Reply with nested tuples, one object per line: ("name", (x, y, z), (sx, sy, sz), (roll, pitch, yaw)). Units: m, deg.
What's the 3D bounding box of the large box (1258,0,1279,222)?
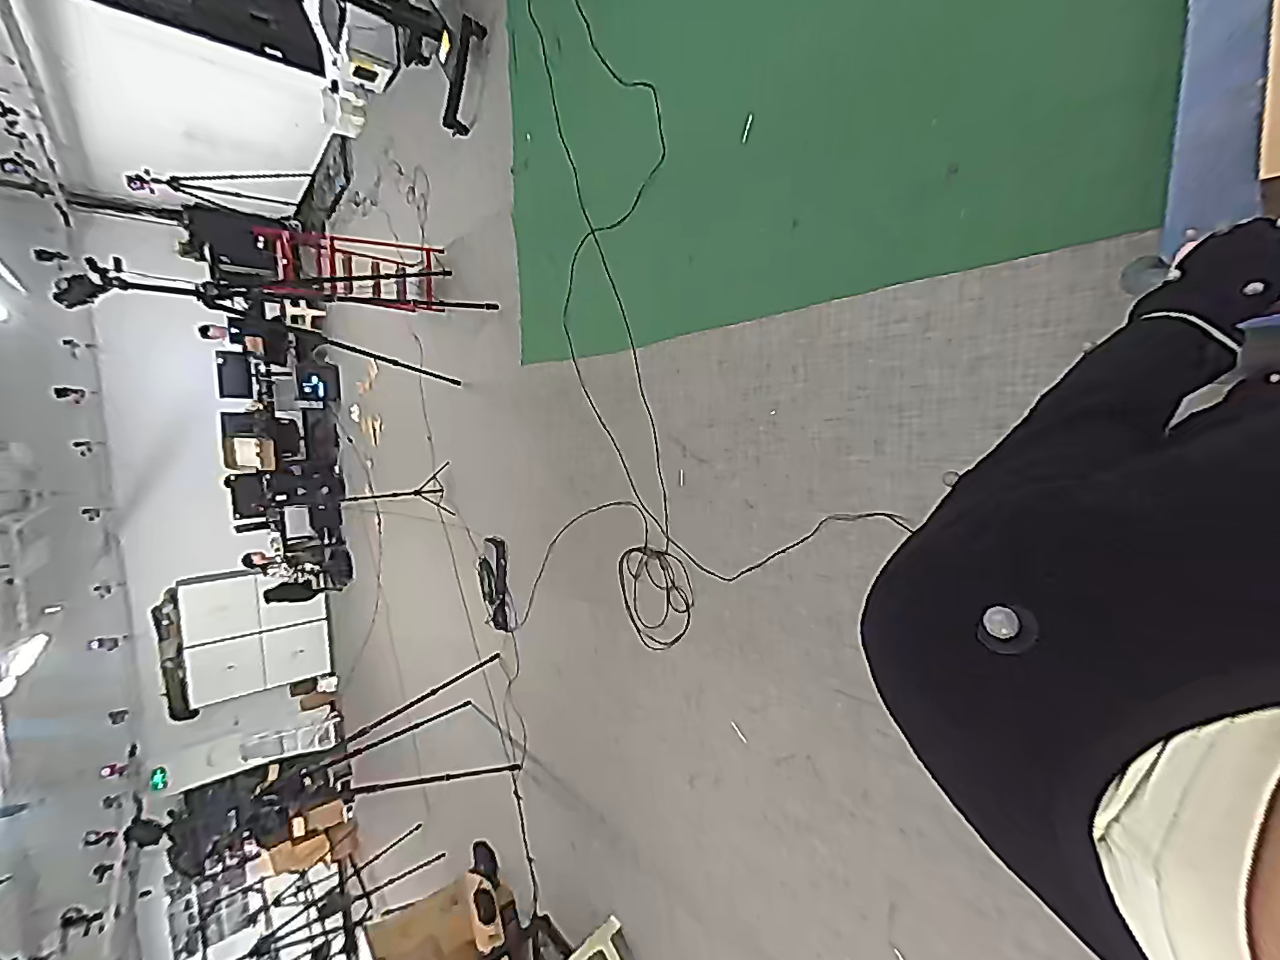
("large box", (1.101, -0.636, 0.740), (0.320, 0.320, 0.408), (5, 98, 50))
